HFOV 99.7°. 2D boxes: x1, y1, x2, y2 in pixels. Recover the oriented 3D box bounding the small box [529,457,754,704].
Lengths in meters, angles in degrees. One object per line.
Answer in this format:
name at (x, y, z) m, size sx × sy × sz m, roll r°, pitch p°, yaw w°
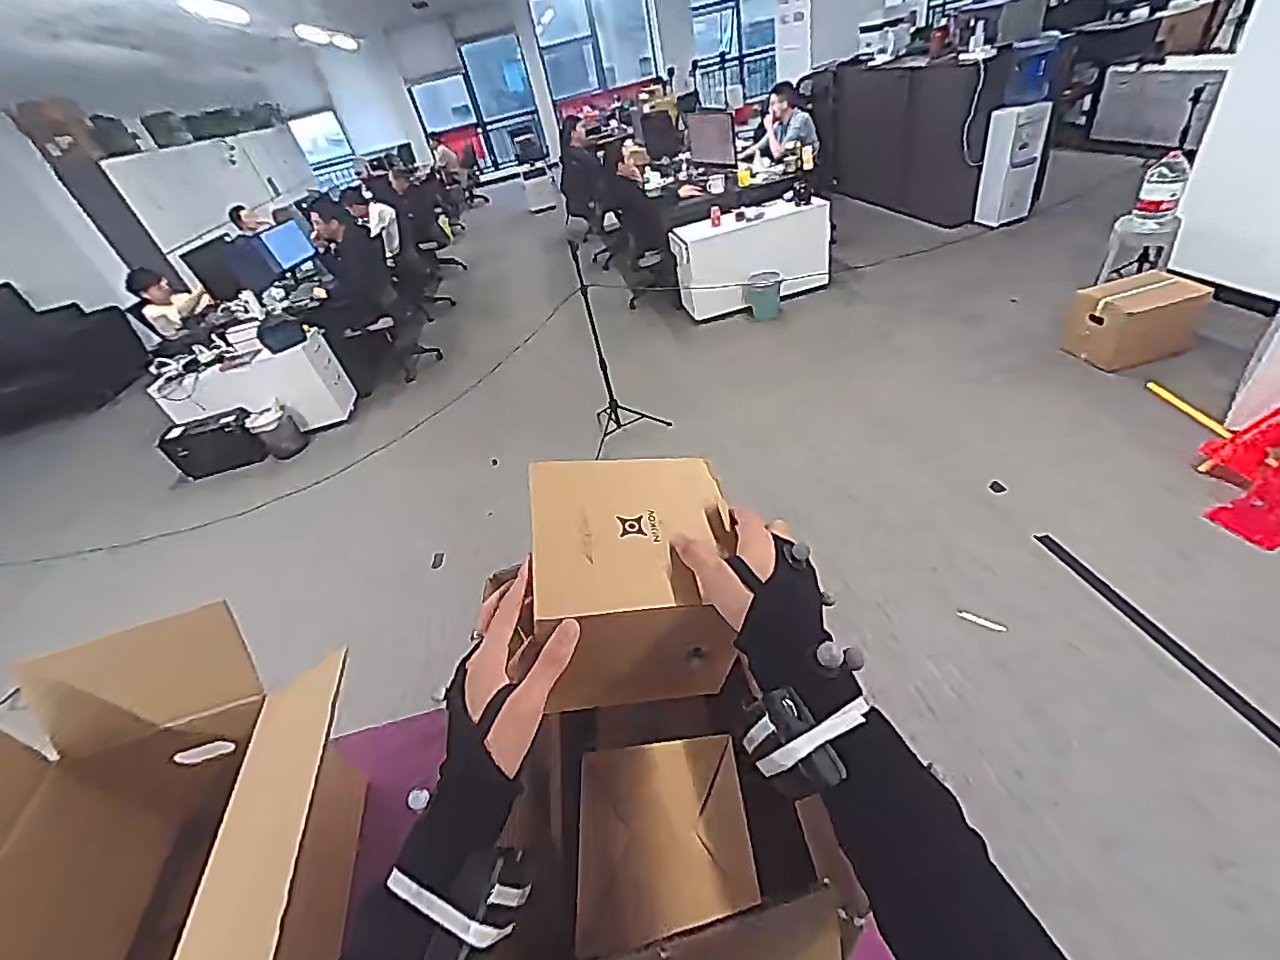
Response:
small box at (-0.015, 0.095, 0.517) m, size 0.179 × 0.176 × 0.168 m, roll -2°, pitch 44°, yaw -11°
